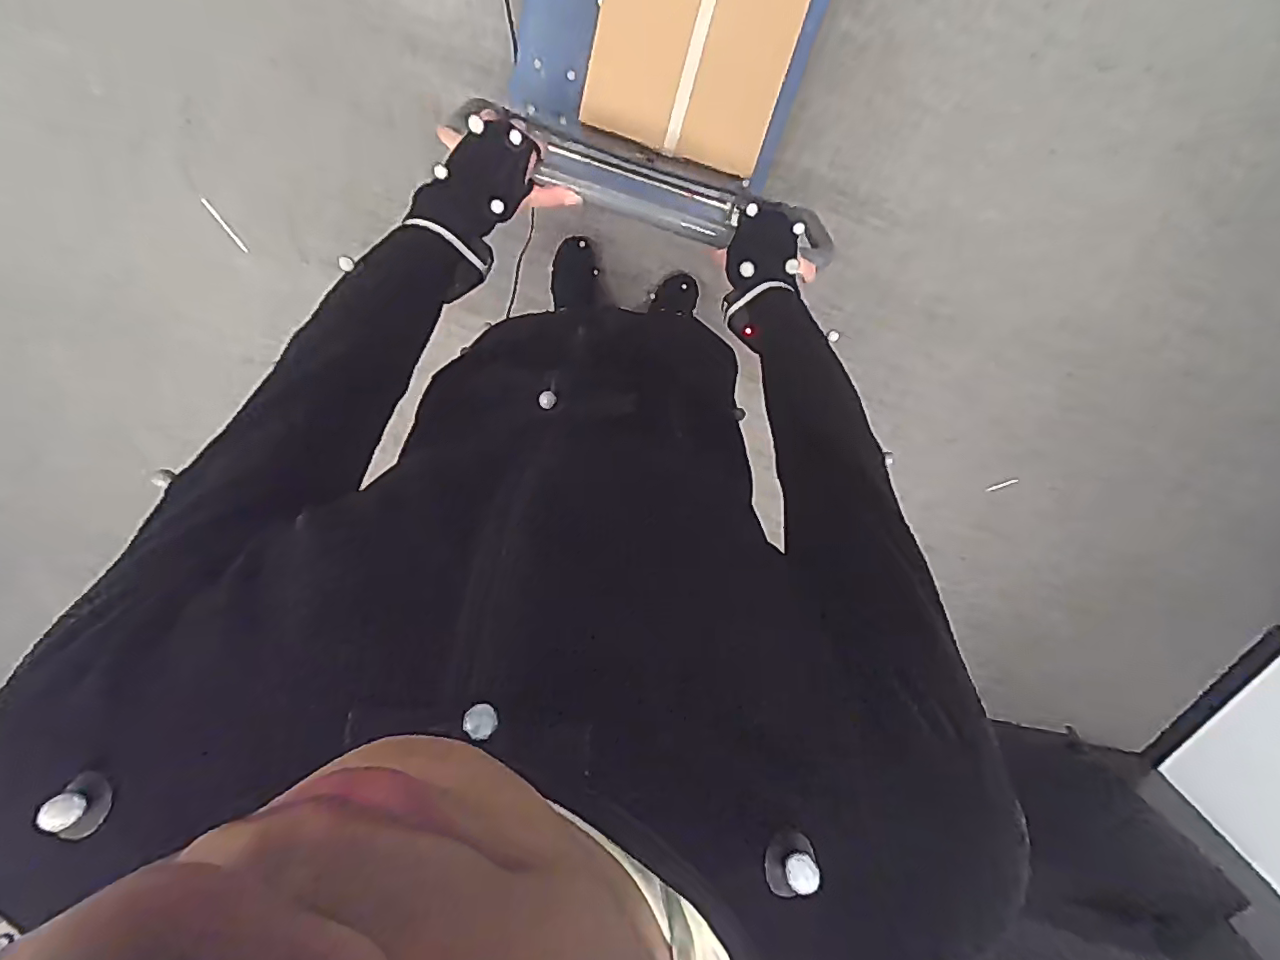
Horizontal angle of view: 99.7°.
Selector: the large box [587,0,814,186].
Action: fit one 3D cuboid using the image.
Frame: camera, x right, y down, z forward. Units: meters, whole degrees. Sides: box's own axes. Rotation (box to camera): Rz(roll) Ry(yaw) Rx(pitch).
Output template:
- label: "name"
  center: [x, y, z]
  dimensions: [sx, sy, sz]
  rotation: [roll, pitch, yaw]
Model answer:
- label: "large box"
  center: [0.101, -0.793, 0.968]
  dimensions: [0.320, 0.320, 0.408]
  rotation: [13, 115, -10]
